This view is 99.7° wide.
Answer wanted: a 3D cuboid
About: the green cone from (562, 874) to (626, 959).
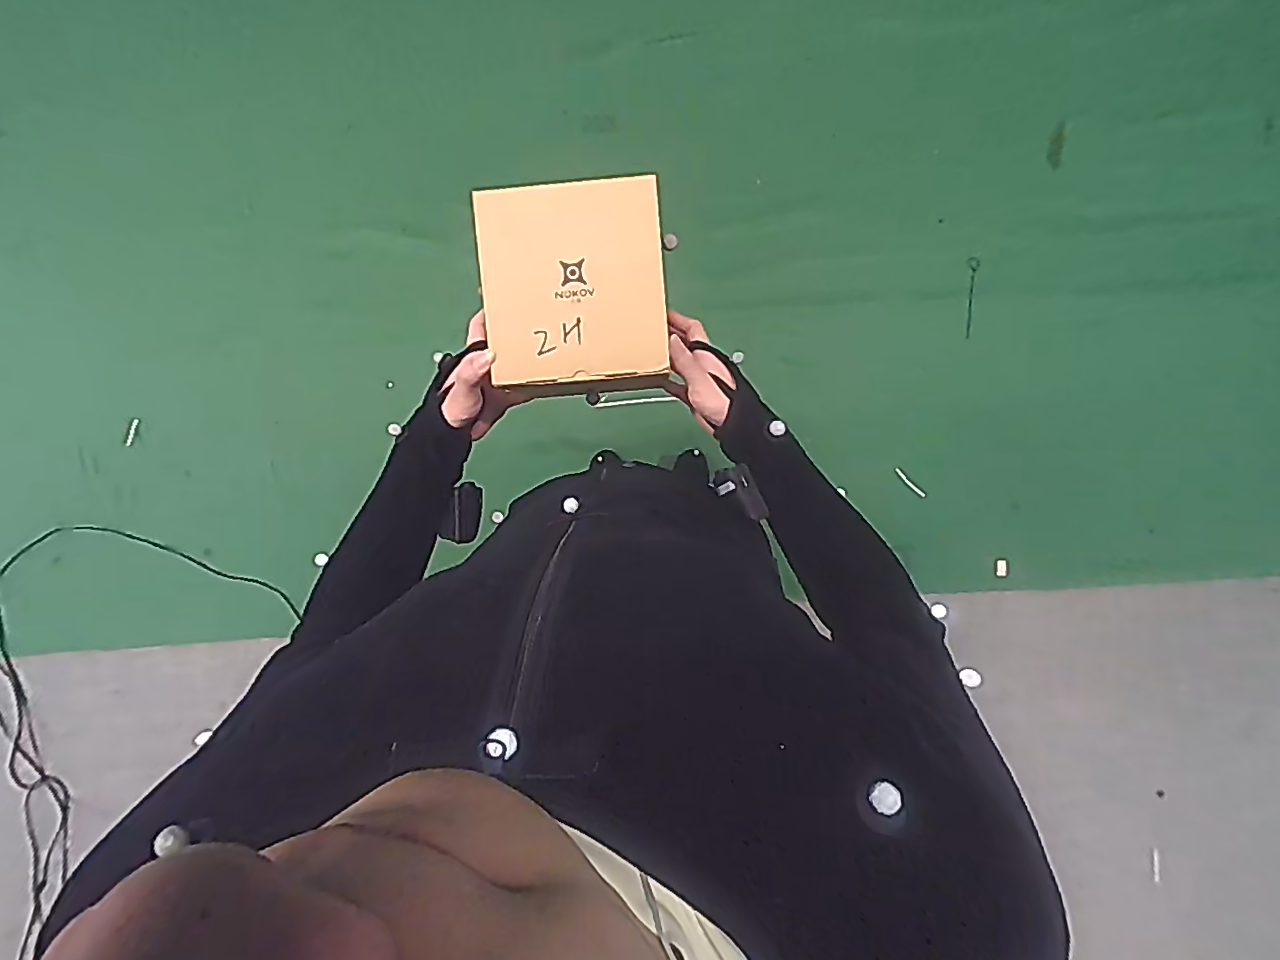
[{"bbox_3d":[-0.154,1.361,1.553,0.202,0.368,0.200,-3,93,3],"label":"green cone"}]
